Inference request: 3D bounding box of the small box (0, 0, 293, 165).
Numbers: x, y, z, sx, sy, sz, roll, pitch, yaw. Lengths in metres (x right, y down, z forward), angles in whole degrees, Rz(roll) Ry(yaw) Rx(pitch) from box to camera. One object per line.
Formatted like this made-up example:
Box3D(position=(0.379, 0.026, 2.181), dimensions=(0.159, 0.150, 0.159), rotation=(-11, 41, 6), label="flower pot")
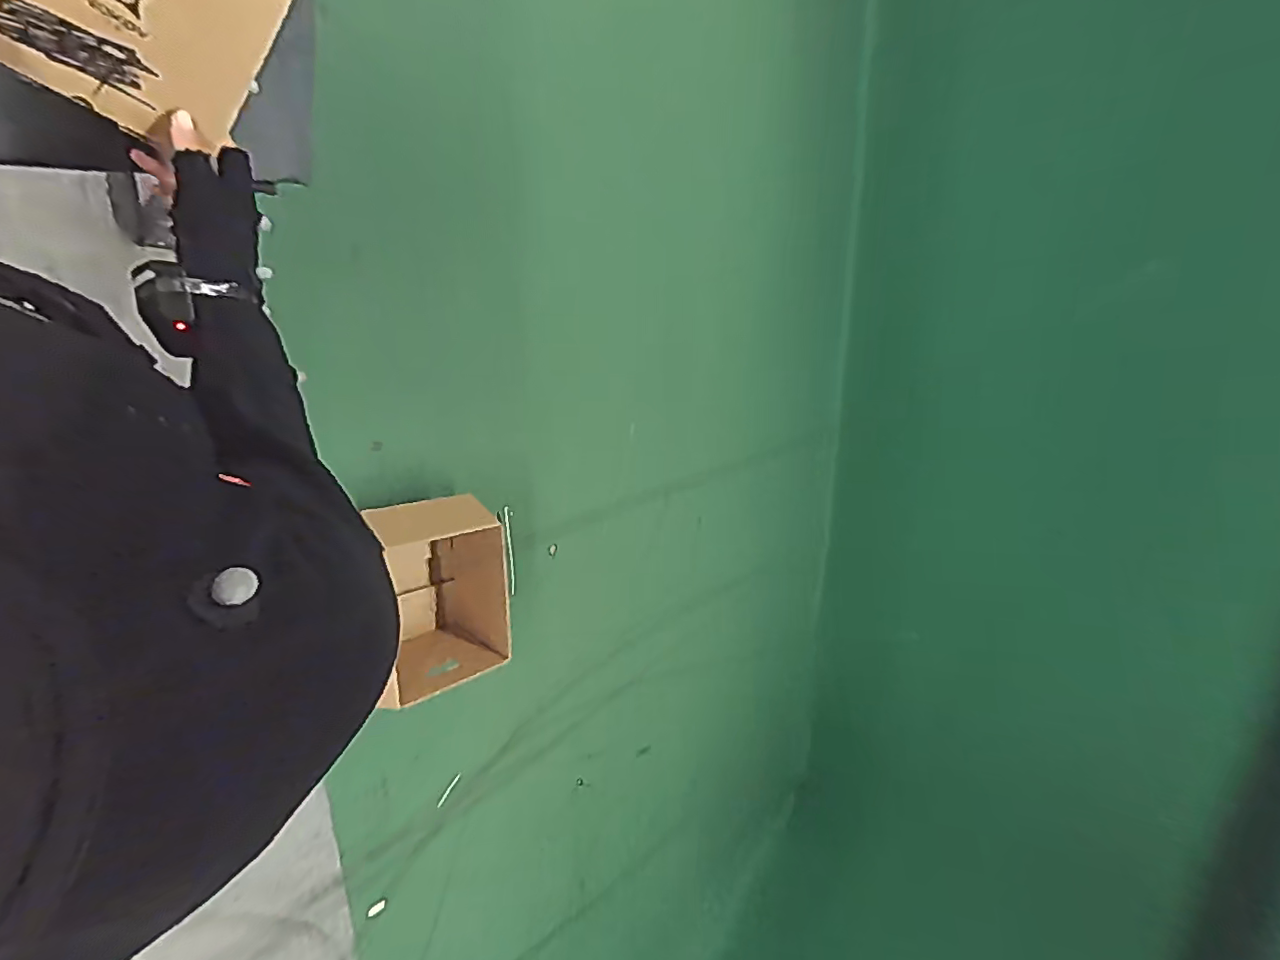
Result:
Box3D(position=(-0.404, -0.403, 0.417), dimensions=(0.179, 0.176, 0.168), rotation=(-41, 151, 21), label="small box")
